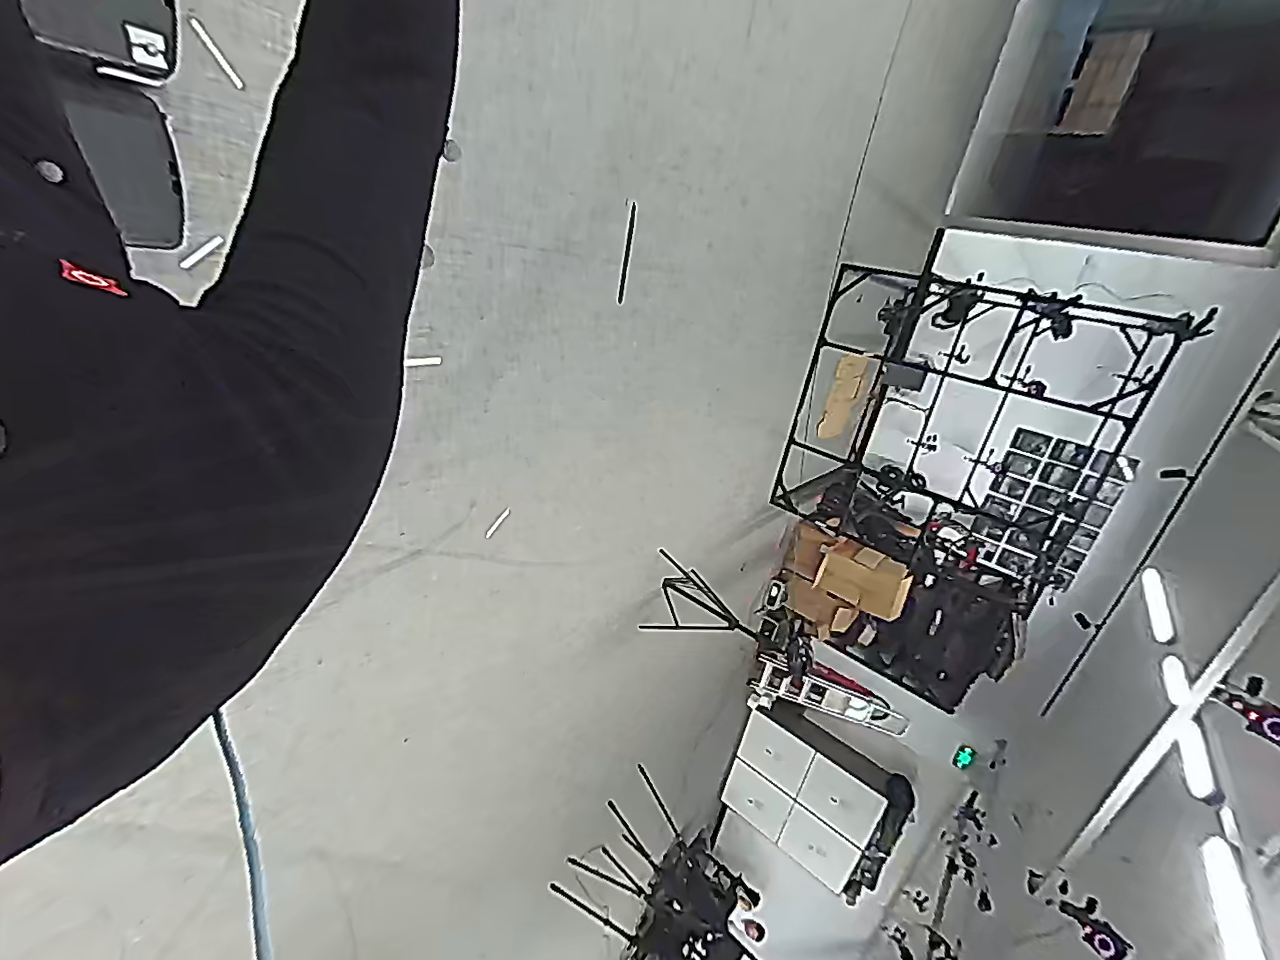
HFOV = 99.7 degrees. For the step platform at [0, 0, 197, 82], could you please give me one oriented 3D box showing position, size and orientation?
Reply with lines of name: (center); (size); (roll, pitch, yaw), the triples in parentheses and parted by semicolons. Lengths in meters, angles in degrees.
step platform: (-1.050, -0.812, 0.740); (0.684, 0.204, 0.286); (-21, 129, -49)
